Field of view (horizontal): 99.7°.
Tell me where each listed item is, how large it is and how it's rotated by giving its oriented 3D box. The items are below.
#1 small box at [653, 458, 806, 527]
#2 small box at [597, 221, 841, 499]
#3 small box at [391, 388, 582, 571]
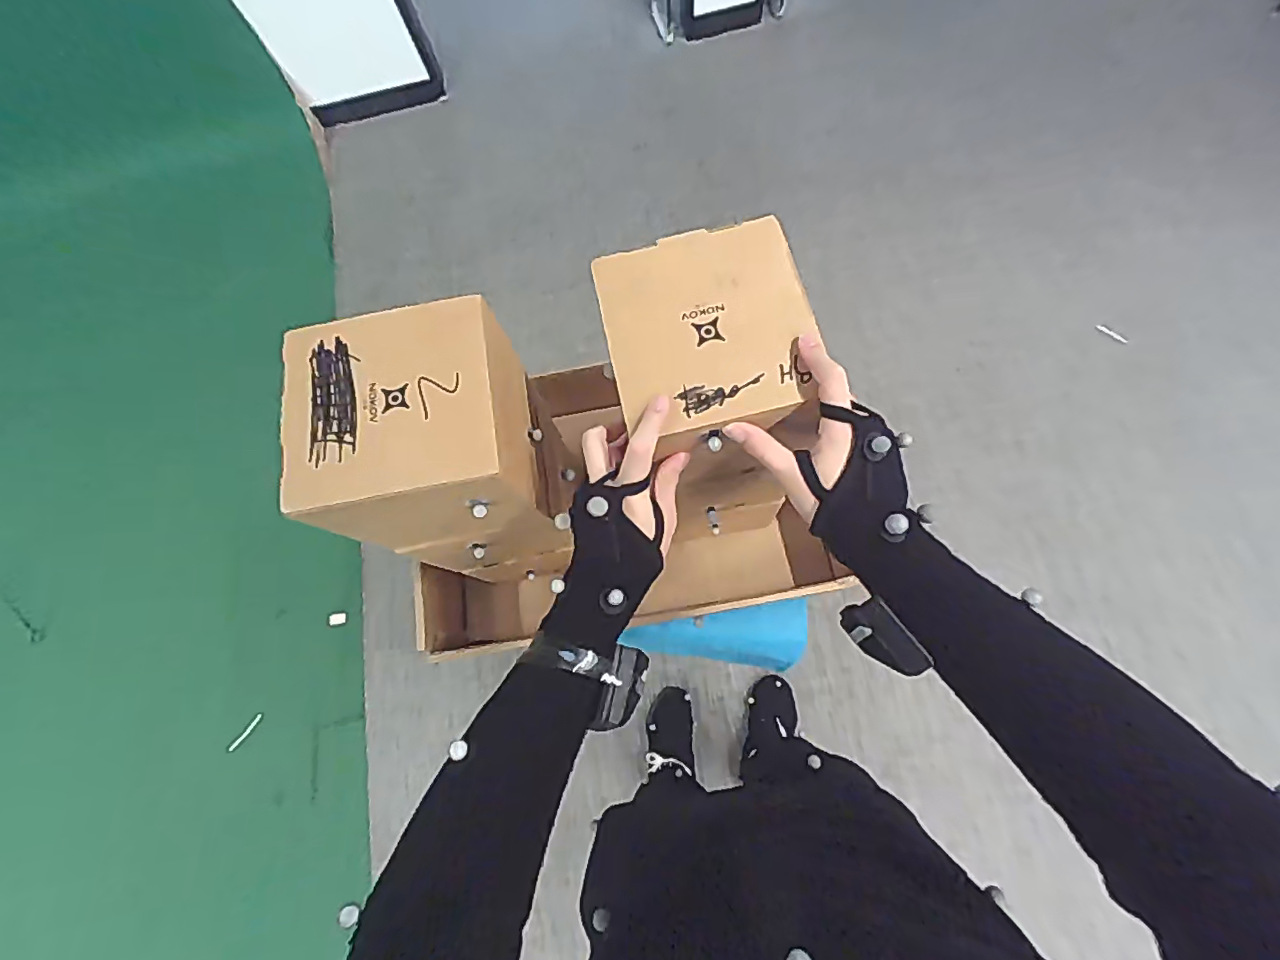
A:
[{"bbox_3d":[0.087,-0.056,0.668,0.168,0.176,0.179,-13,72,3],"label":"small box"},{"bbox_3d":[0.065,-0.100,0.512,0.168,0.176,0.179,-14,71,3],"label":"small box"},{"bbox_3d":[-0.181,0.011,0.672,0.179,0.176,0.168,-12,73,0],"label":"small box"}]
